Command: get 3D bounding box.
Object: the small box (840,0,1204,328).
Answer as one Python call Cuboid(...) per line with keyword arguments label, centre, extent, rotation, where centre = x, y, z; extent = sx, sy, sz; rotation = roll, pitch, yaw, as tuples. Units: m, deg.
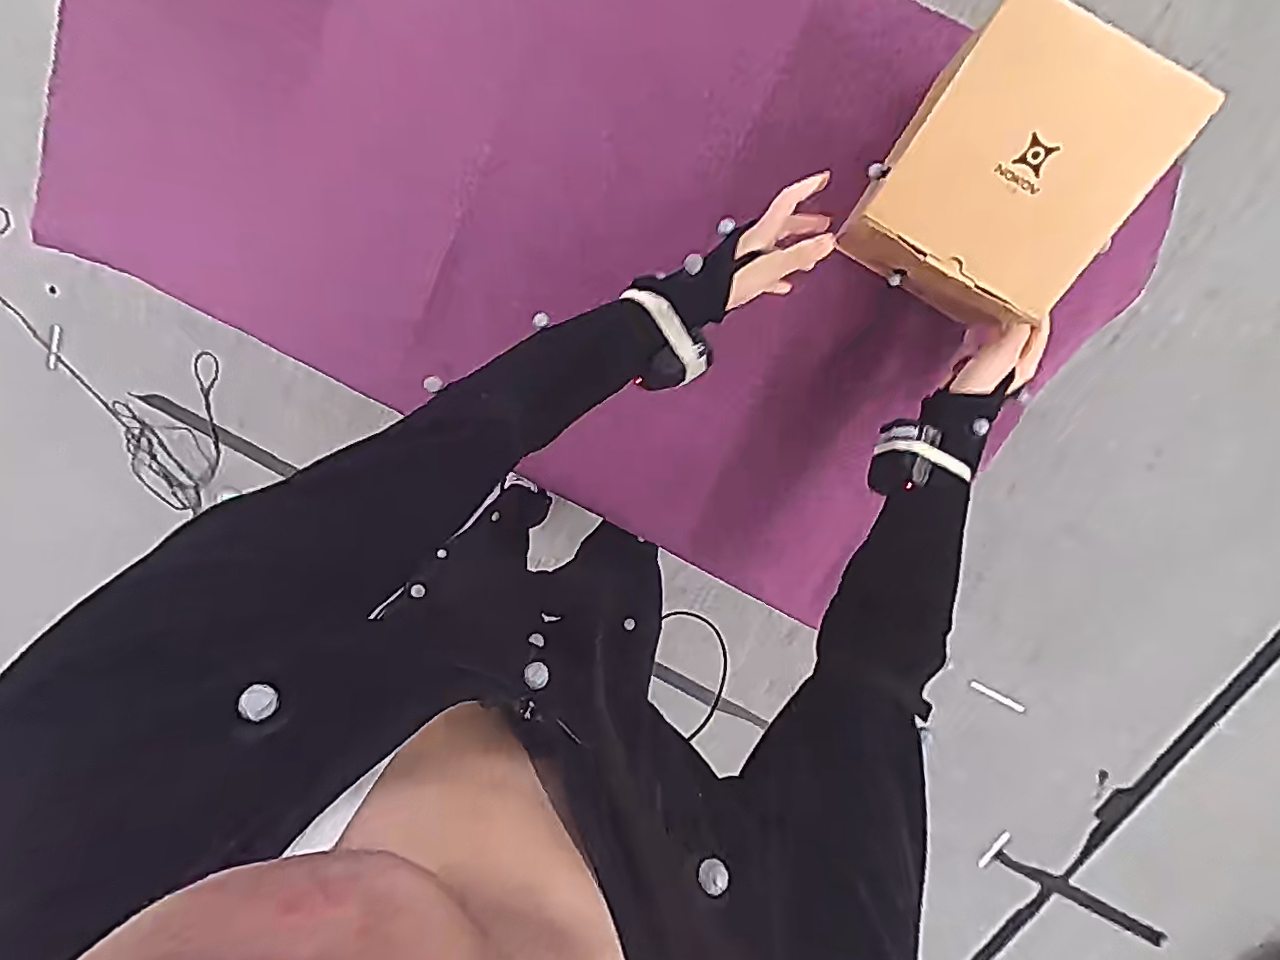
Cuboid(label="small box", centre=(0.304, -0.257, 0.485), extent=(0.168, 0.176, 0.179), rotation=(32, 110, 0))
